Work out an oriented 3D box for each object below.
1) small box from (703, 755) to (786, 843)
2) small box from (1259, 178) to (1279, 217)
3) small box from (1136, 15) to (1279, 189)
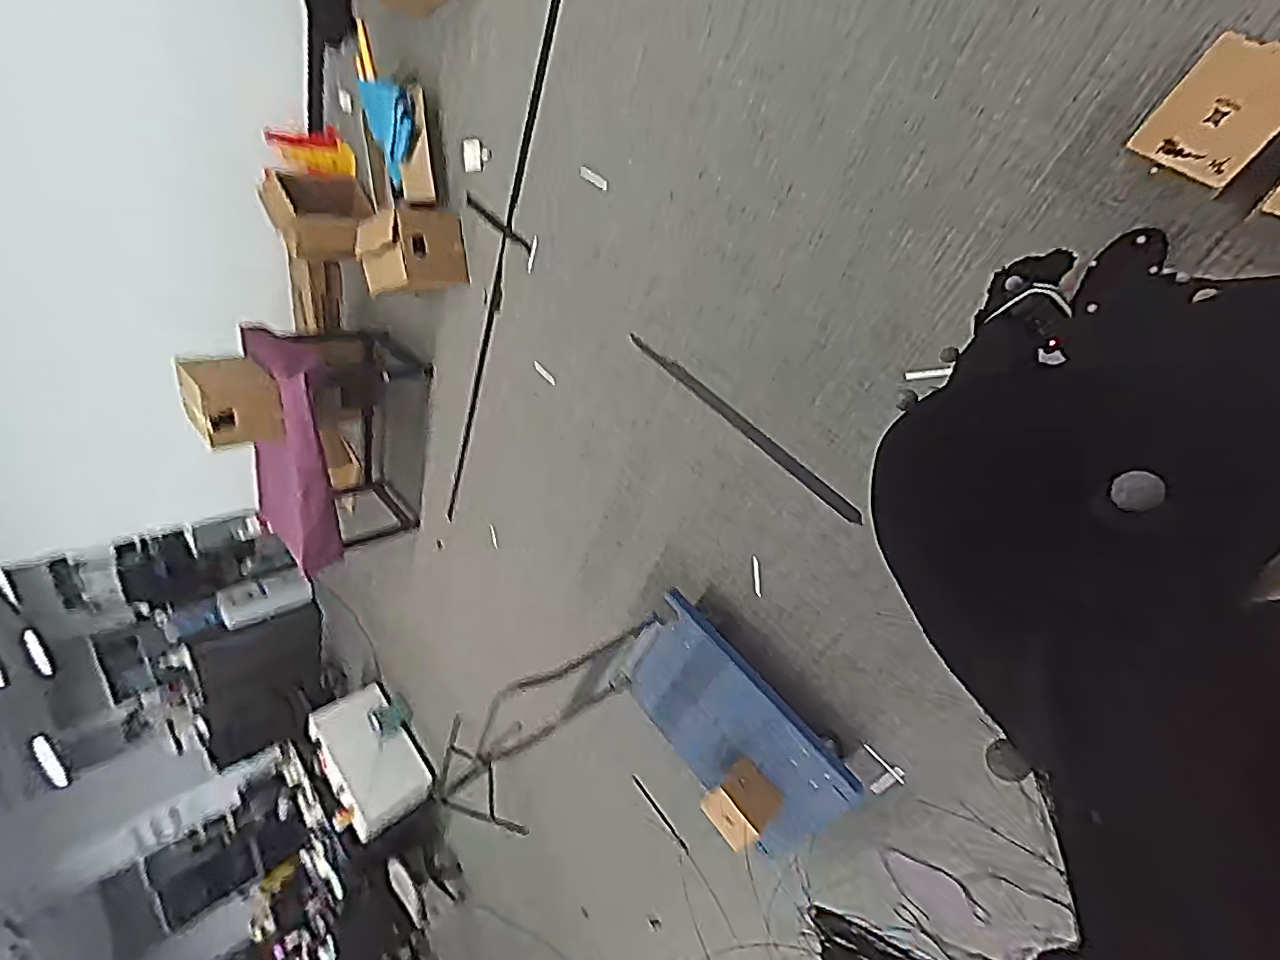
[{"bbox_3d":[0.354,1.065,1.824,0.179,0.176,0.168,44,130,24],"label":"small box"},{"bbox_3d":[1.133,-0.484,0.834,0.179,0.176,0.168,39,128,27],"label":"small box"},{"bbox_3d":[0.996,-0.627,0.917,0.168,0.176,0.179,48,130,22],"label":"small box"}]
